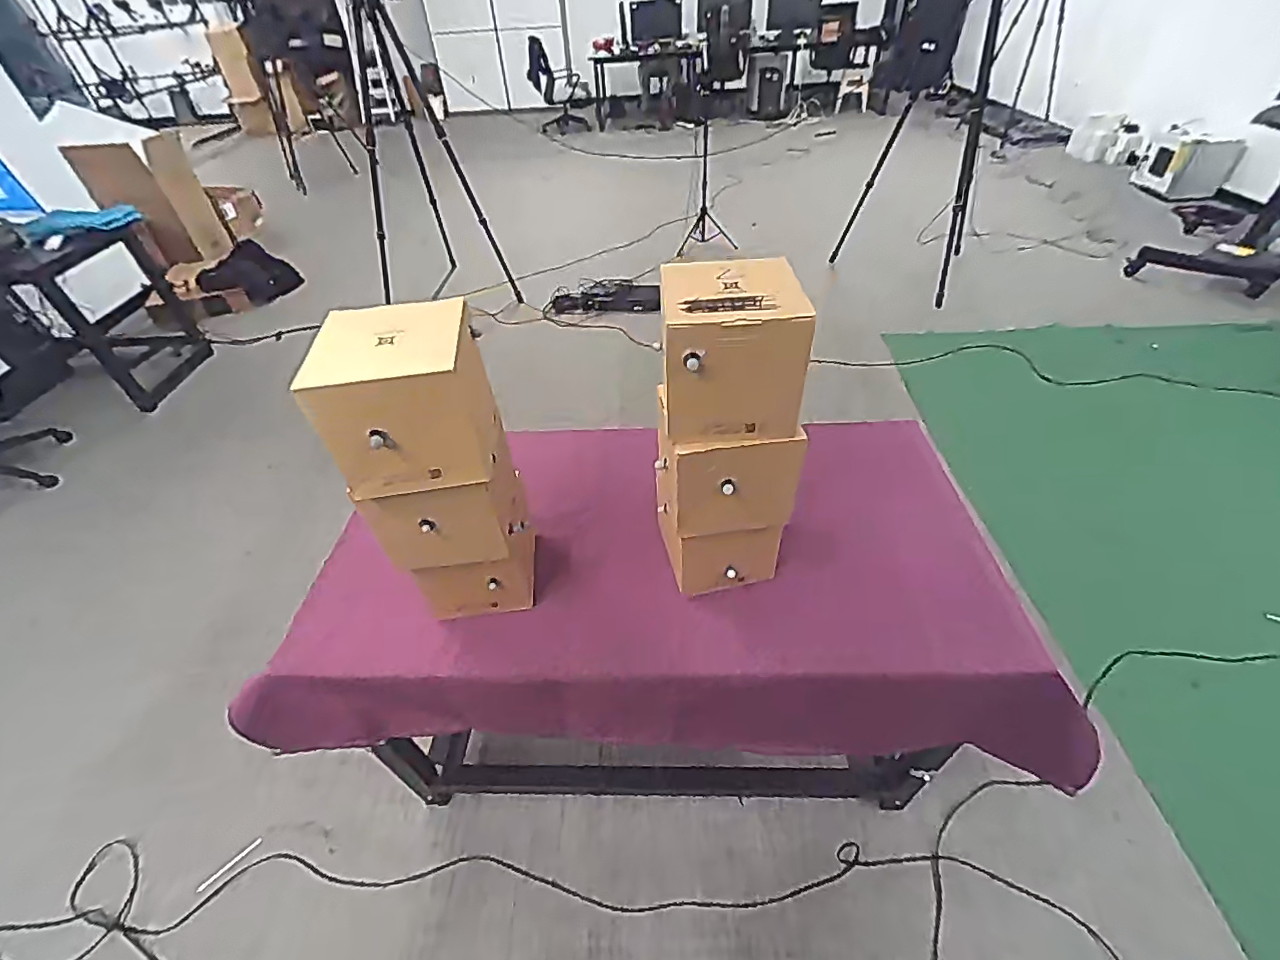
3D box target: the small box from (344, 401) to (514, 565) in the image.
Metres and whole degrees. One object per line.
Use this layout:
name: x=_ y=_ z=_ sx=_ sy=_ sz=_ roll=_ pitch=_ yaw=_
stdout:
small box: x=-0.288 y=0.006 z=0.790 sx=0.179 sy=0.176 sz=0.168 roll=-6 pitch=44 yaw=-2

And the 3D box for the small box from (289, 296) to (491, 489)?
small box: x=-0.286 y=-0.103 z=0.669 sx=0.168 sy=0.176 sz=0.179 roll=-8 pitch=44 yaw=-5

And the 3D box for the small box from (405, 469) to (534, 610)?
small box: x=-0.279 y=0.106 z=0.921 sx=0.168 sy=0.176 sz=0.179 roll=-5 pitch=43 yaw=-2

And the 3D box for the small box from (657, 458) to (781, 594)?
small box: x=0.125 y=0.068 z=0.928 sx=0.168 sy=0.176 sz=0.179 roll=-10 pitch=44 yaw=-6

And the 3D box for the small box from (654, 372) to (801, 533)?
small box: x=0.120 y=-0.037 z=0.801 sx=0.179 sy=0.176 sz=0.168 roll=-6 pitch=44 yaw=-2
